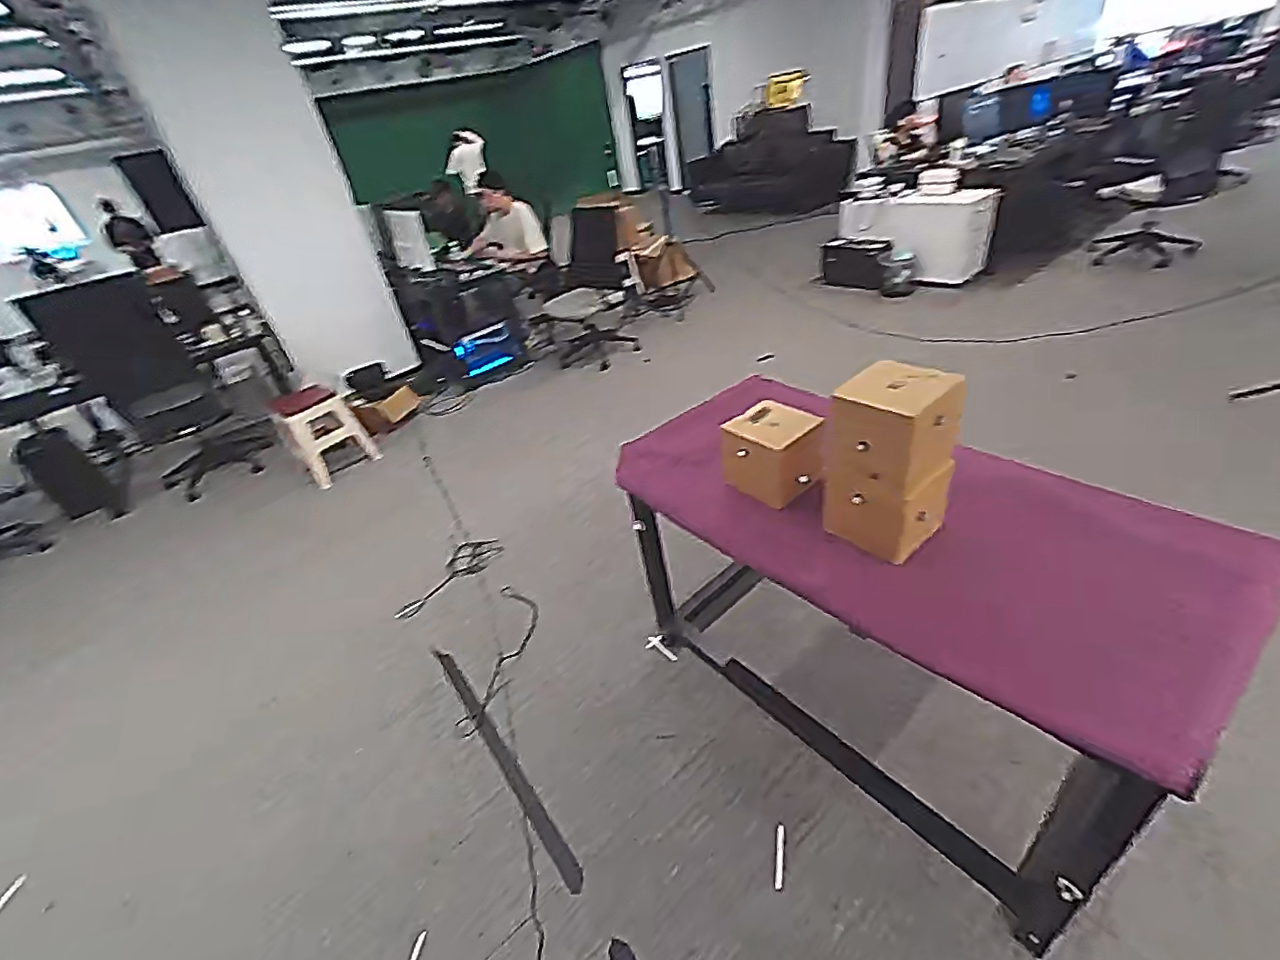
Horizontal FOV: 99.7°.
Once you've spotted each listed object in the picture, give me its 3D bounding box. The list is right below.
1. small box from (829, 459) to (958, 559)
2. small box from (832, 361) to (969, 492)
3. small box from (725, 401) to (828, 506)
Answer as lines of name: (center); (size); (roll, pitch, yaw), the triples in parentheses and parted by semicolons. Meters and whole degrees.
small box: (0.509, 0.037, 1.105); (0.168, 0.176, 0.179); (-31, 38, -26)
small box: (0.484, -0.102, 1.020); (0.179, 0.176, 0.168); (-30, 39, -26)
small box: (0.326, -0.064, 1.299); (0.168, 0.176, 0.179); (-31, 40, -26)
